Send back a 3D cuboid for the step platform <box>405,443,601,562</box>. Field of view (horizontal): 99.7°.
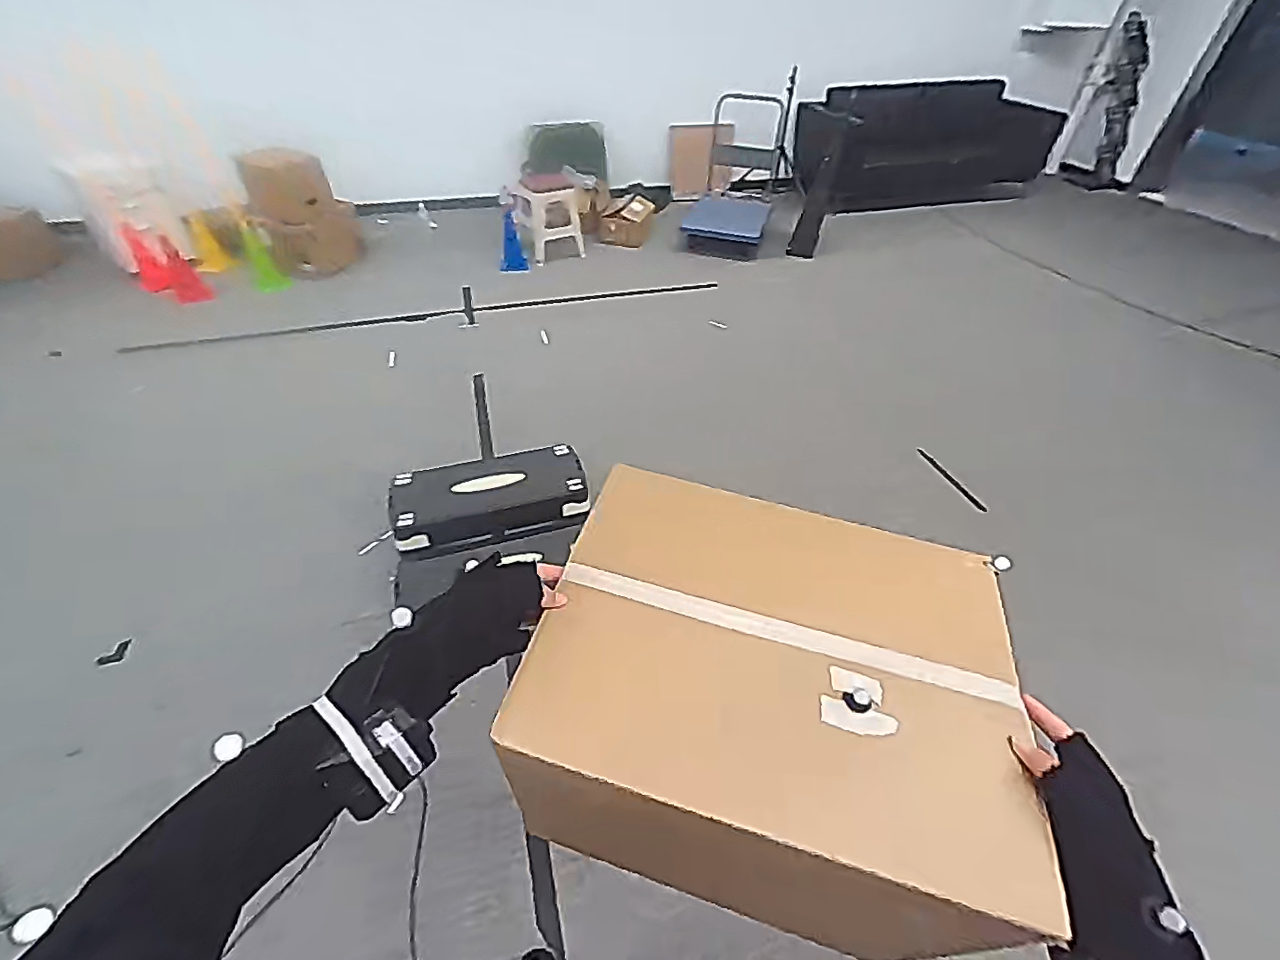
[{"bbox_3d":[-0.485,0.067,1.972,0.684,0.204,0.286,-12,45,-15],"label":"step platform"}]

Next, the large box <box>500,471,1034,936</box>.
[{"bbox_3d":[0.105,0.239,0.601,0.408,0.320,0.320,14,47,8],"label":"large box"}]
